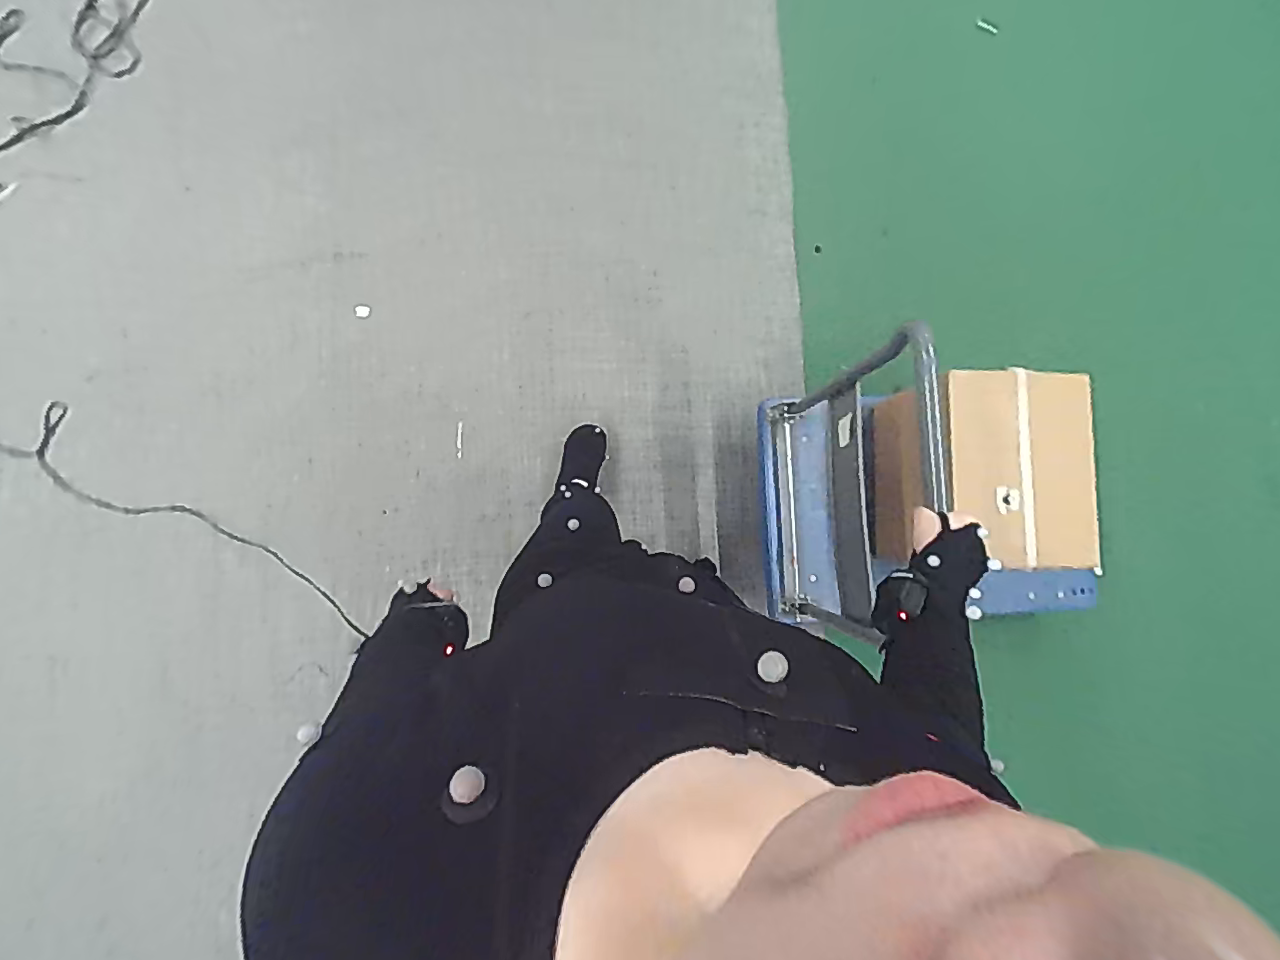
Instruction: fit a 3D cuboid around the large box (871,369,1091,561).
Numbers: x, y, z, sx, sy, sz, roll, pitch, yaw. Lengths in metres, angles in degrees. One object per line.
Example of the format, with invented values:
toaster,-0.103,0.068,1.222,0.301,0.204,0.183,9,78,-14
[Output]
large box,0.764,-0.022,1.262,0.320,0.320,0.408,1,85,-4
